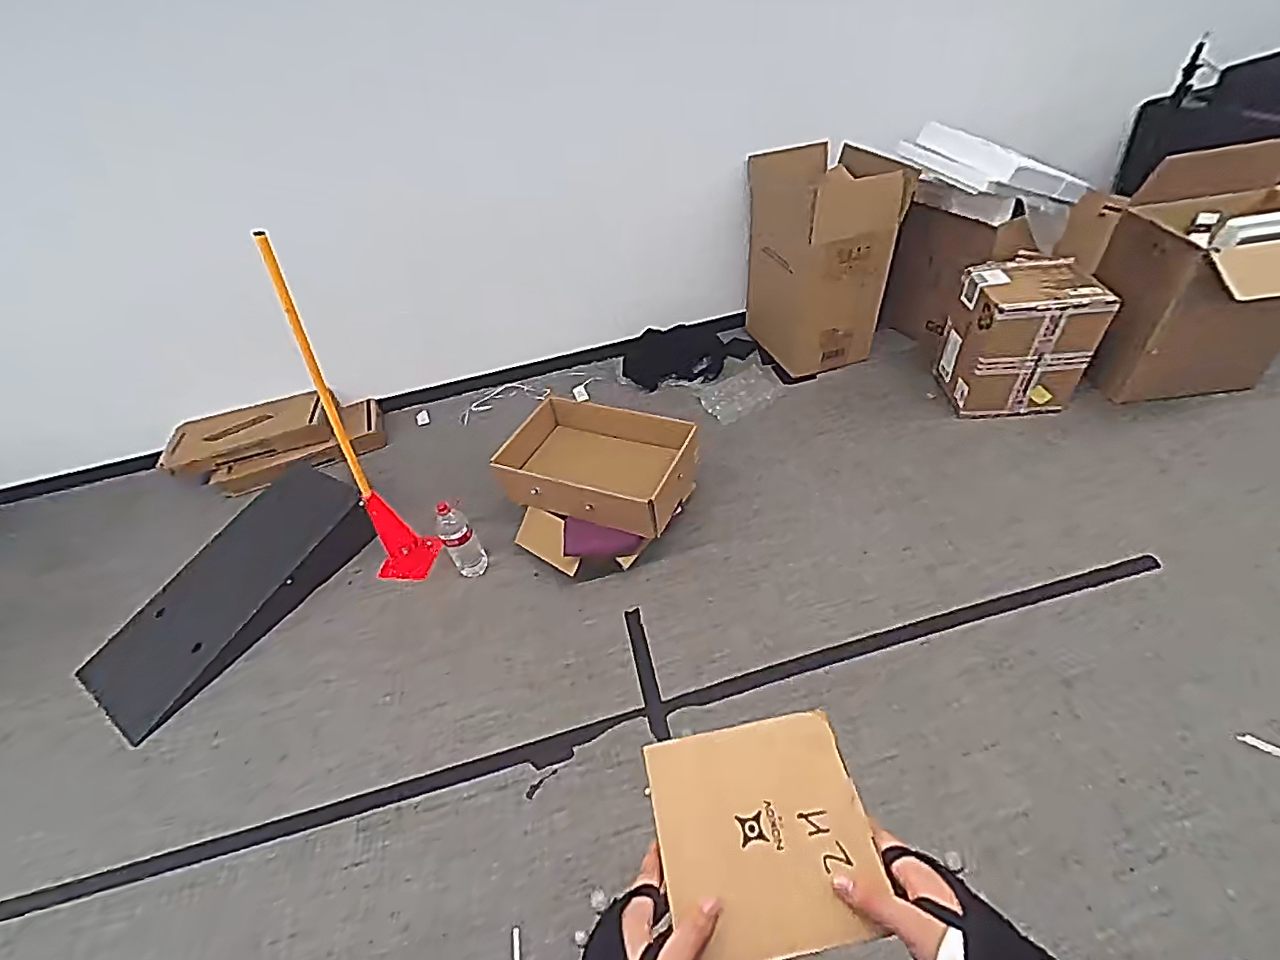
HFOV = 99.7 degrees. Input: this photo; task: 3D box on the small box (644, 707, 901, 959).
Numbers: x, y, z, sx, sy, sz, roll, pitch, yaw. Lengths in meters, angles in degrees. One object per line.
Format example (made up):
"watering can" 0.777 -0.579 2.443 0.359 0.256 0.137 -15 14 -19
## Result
"small box" 0.108 0.341 0.514 0.179 0.176 0.168 -10 50 -3
